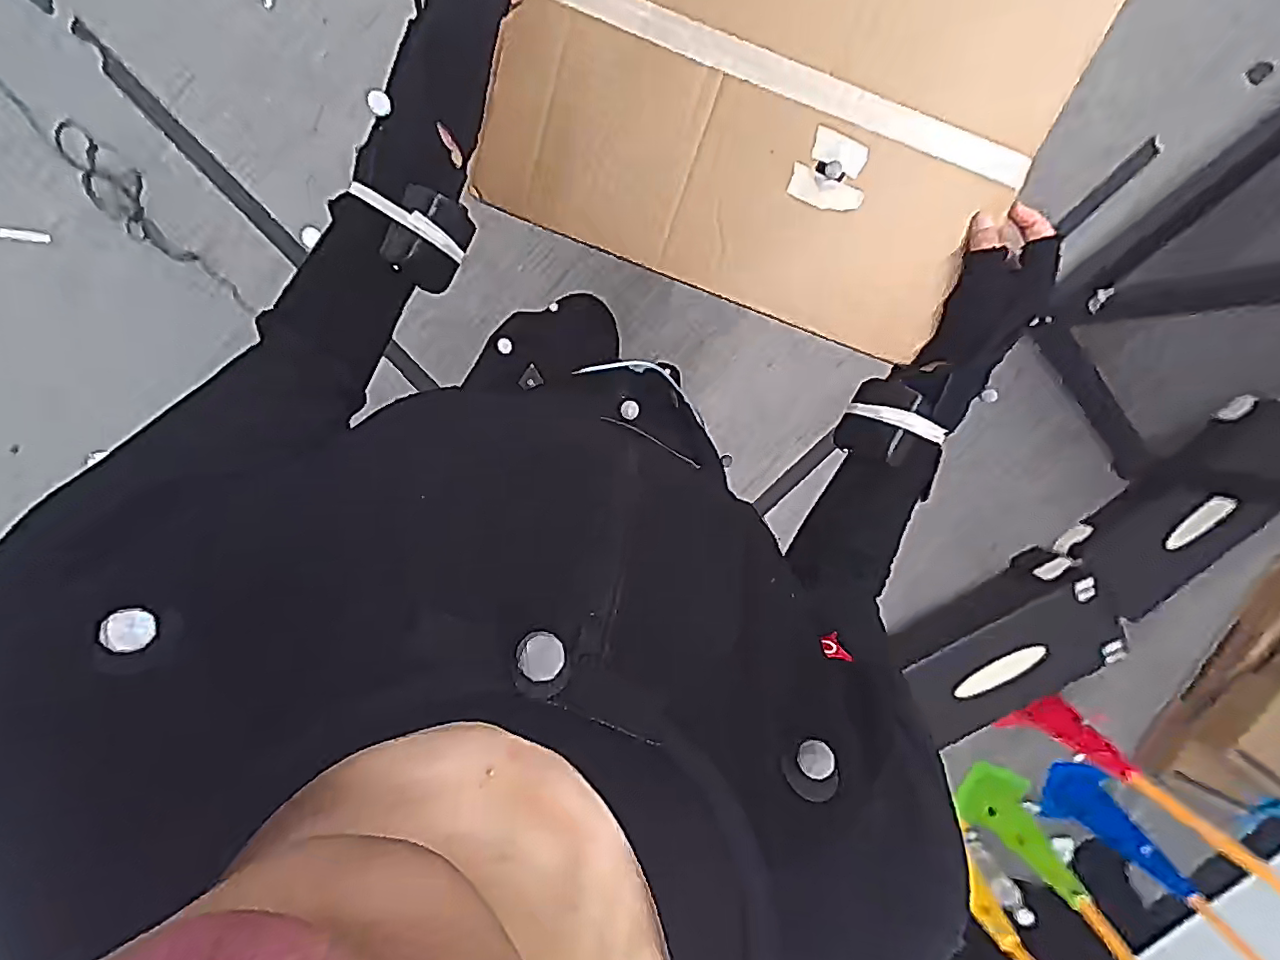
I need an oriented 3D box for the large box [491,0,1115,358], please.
[{"bbox_3d":[0.117,-0.358,0.547,0.408,0.320,0.320,20,113,-4],"label":"large box"}]
